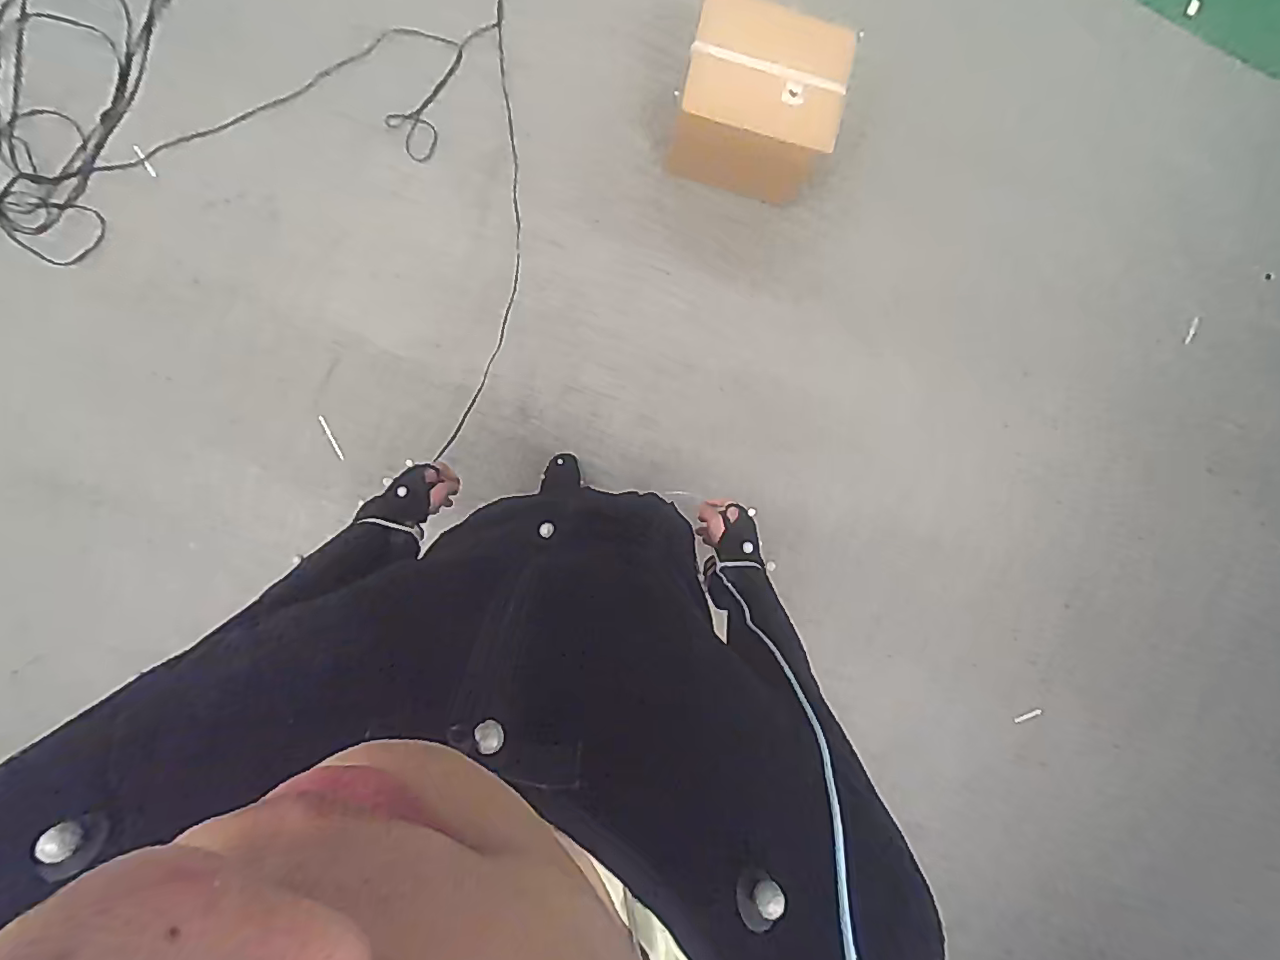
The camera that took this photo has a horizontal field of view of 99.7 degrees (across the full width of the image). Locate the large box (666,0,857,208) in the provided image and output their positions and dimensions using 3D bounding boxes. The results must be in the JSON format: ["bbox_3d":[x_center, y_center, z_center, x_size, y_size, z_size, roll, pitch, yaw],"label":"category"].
[{"bbox_3d":[0.313,-1.017,1.498,0.408,0.320,0.320,12,92,-7],"label":"large box"}]
